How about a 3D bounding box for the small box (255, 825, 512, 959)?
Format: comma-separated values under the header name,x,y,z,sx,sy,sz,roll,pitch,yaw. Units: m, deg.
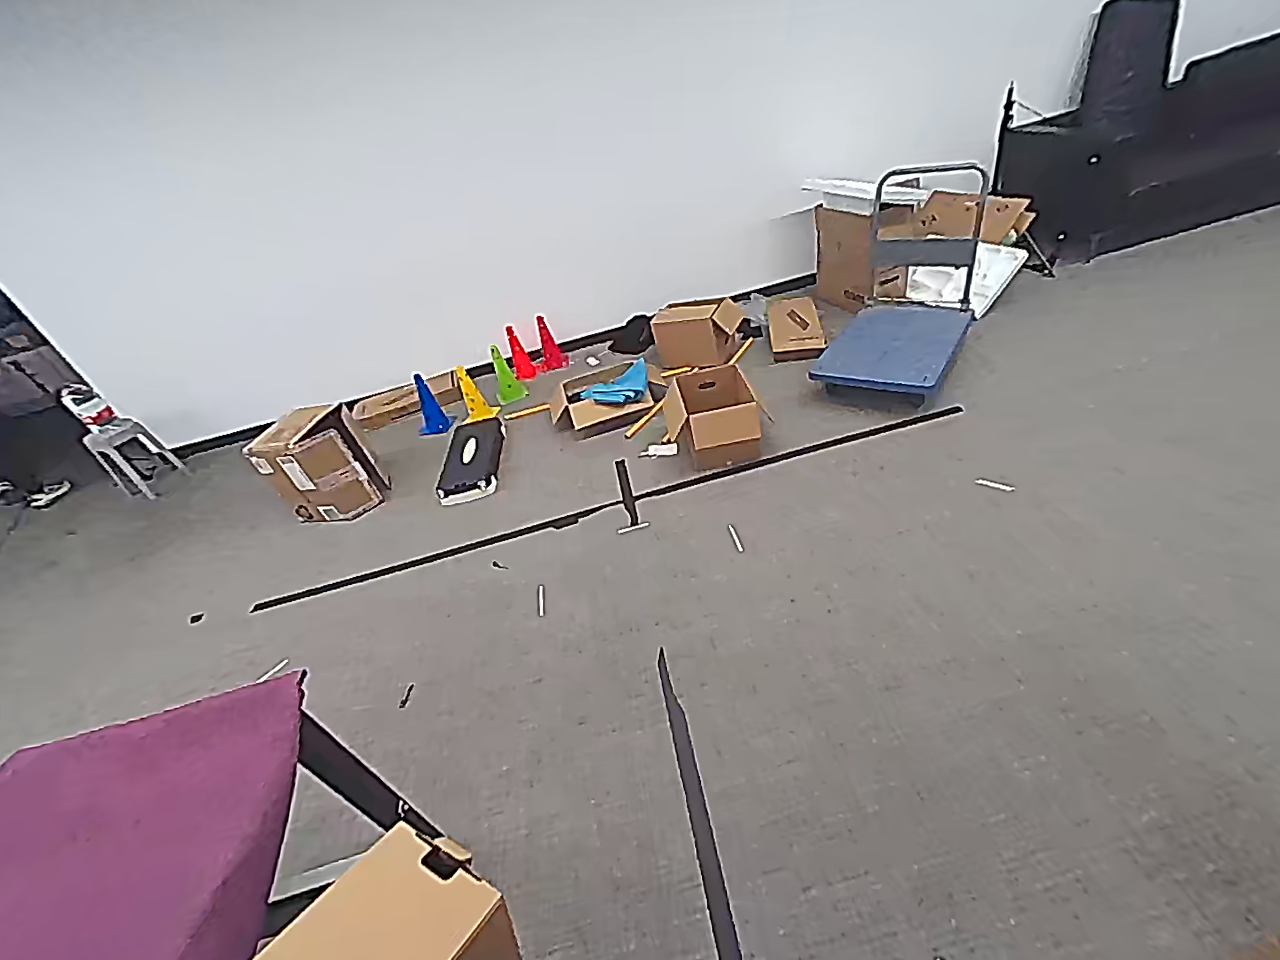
name,x,y,z,sx,sy,sz,roll,pitch,yaw
small box,-0.236,0.494,0.516,0.168,0.176,0.179,7,23,33
